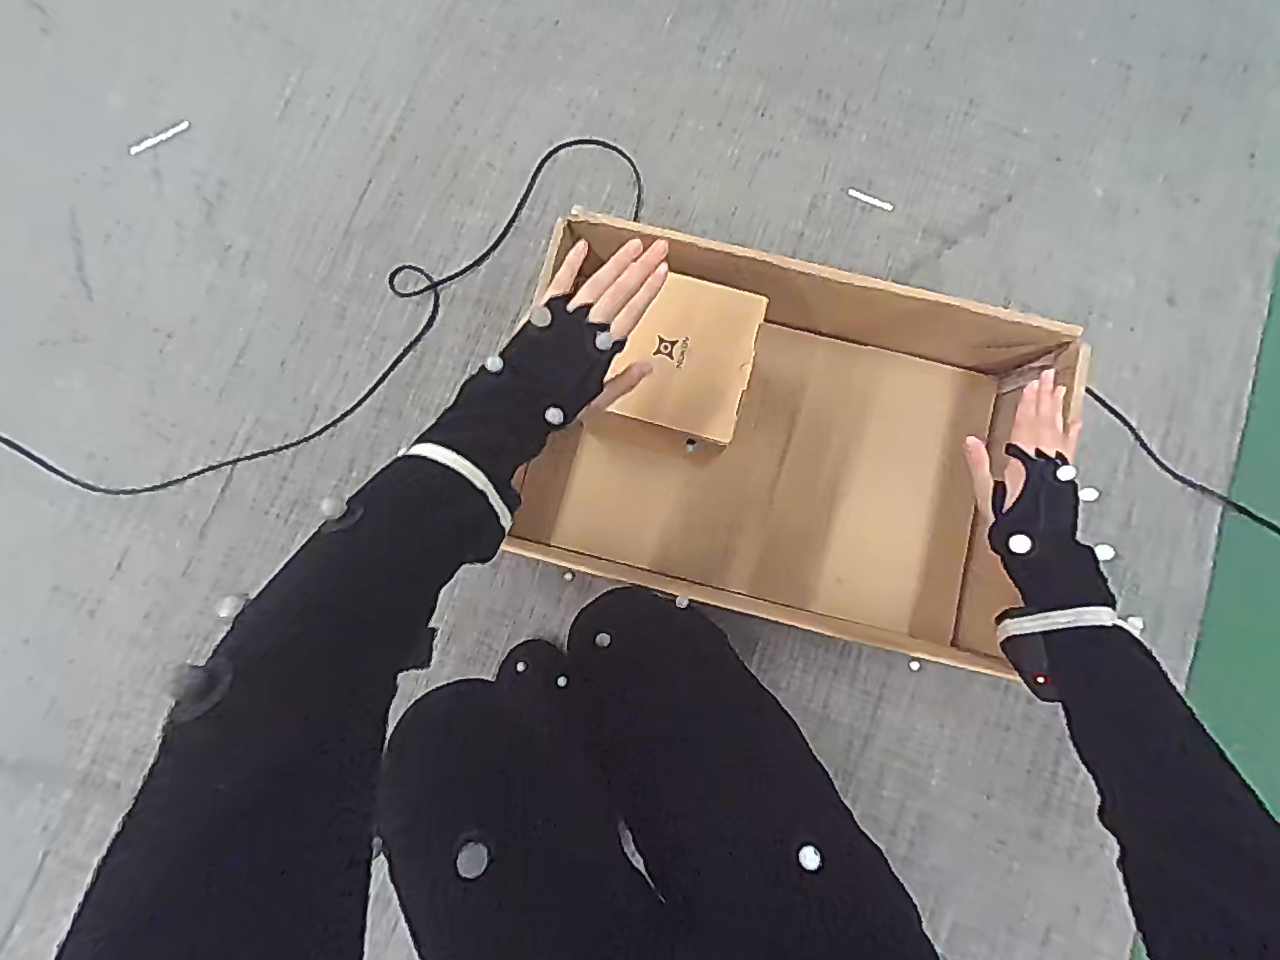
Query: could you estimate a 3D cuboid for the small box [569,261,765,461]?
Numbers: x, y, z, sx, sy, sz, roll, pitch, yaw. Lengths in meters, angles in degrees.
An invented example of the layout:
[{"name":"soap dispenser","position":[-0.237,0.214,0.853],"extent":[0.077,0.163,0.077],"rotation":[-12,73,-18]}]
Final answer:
[{"name":"small box","position":[0.029,-0.127,0.646],"extent":[0.179,0.176,0.168],"rotation":[15,84,0]}]
